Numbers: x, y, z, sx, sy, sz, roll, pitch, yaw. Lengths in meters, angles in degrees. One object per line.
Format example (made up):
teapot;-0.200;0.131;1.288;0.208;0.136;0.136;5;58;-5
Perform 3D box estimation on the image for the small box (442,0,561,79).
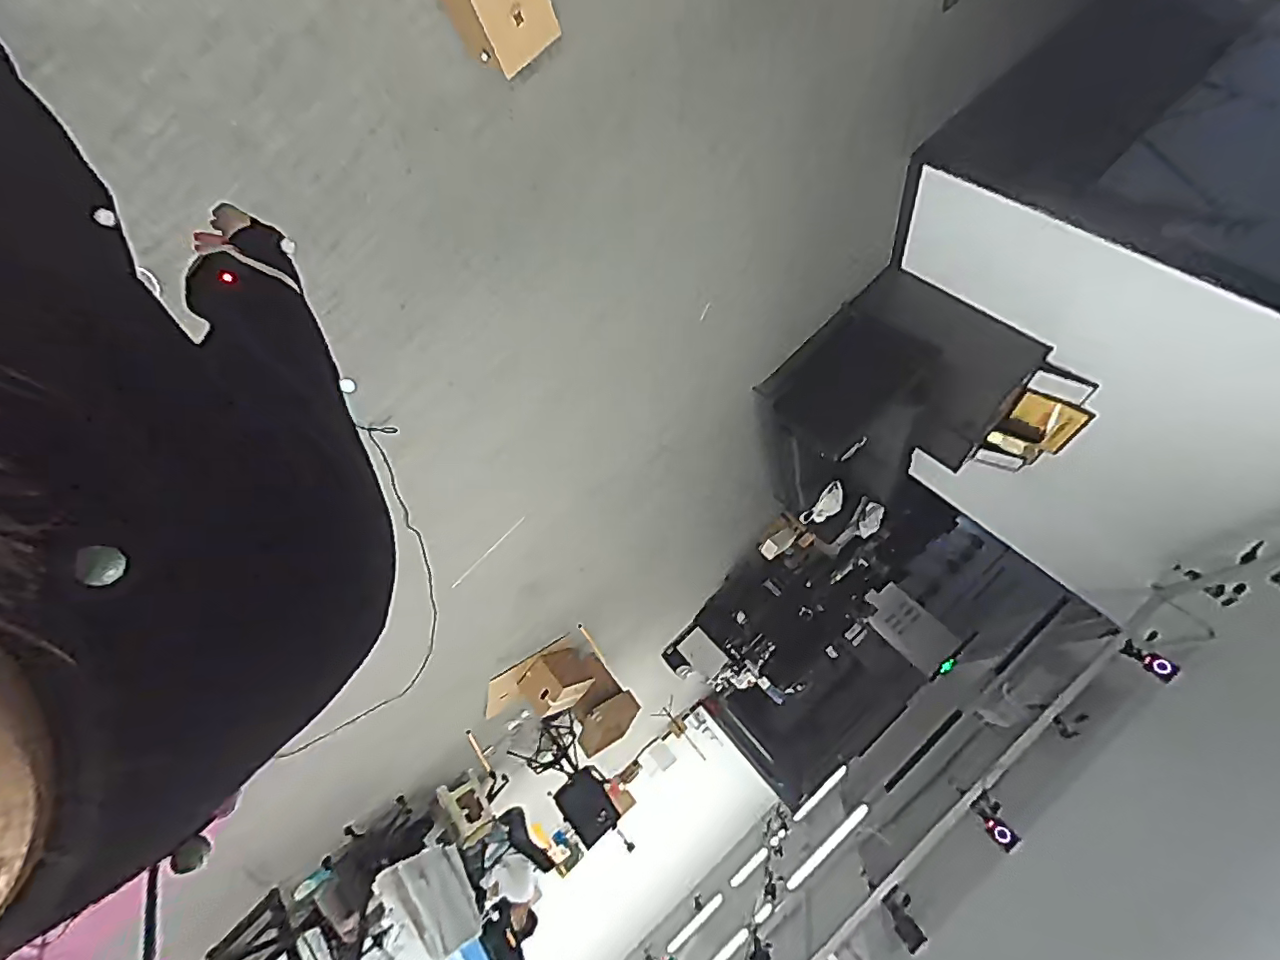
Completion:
small box;-0.306;-1.019;1.156;0.168;0.176;0.179;-44;154;-4
